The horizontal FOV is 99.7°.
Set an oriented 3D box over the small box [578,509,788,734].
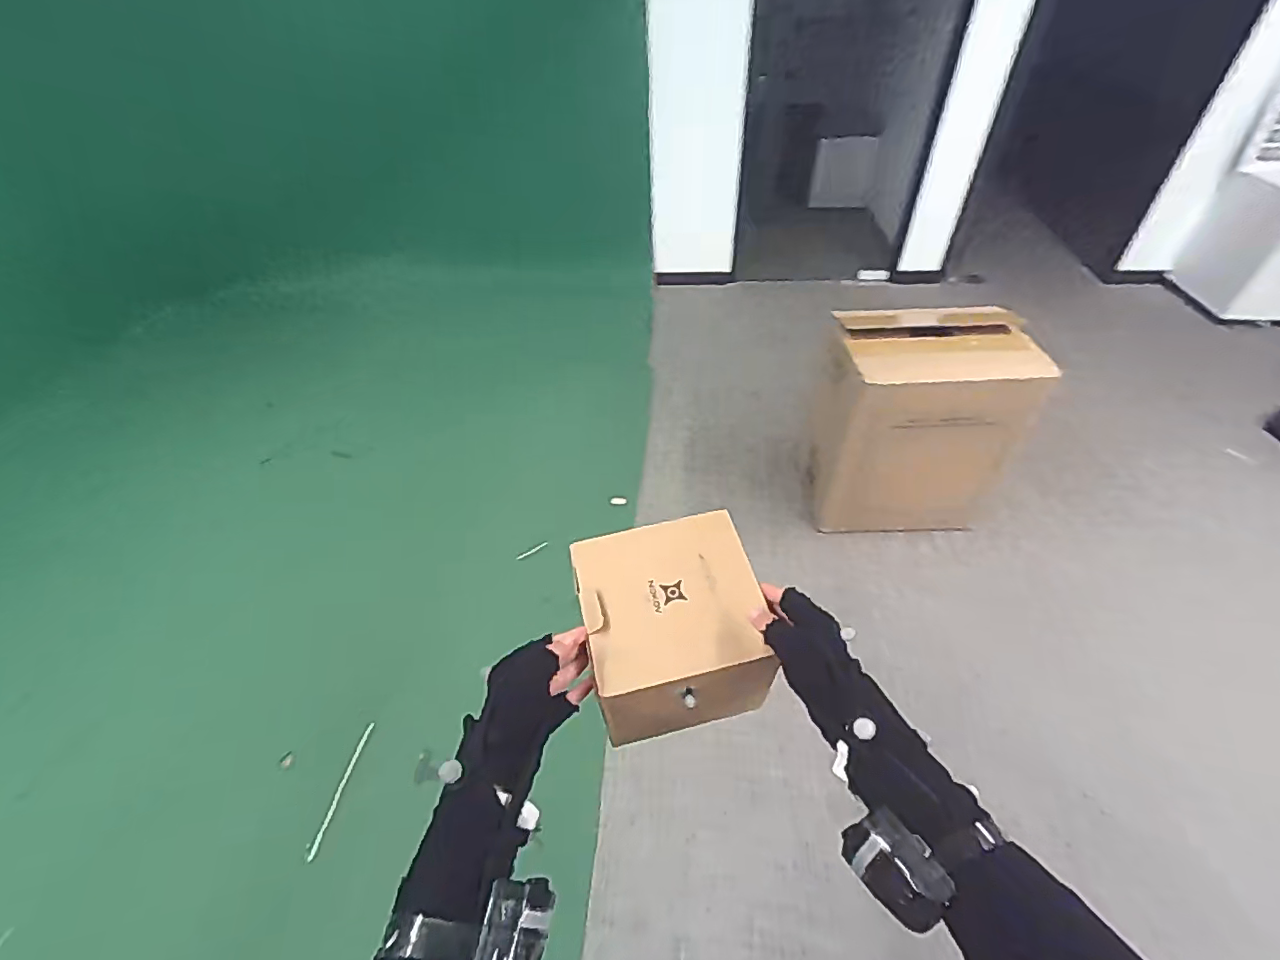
[{"bbox_3d":[0.038,0.159,0.594,0.179,0.176,0.168,-11,52,-8],"label":"small box"}]
